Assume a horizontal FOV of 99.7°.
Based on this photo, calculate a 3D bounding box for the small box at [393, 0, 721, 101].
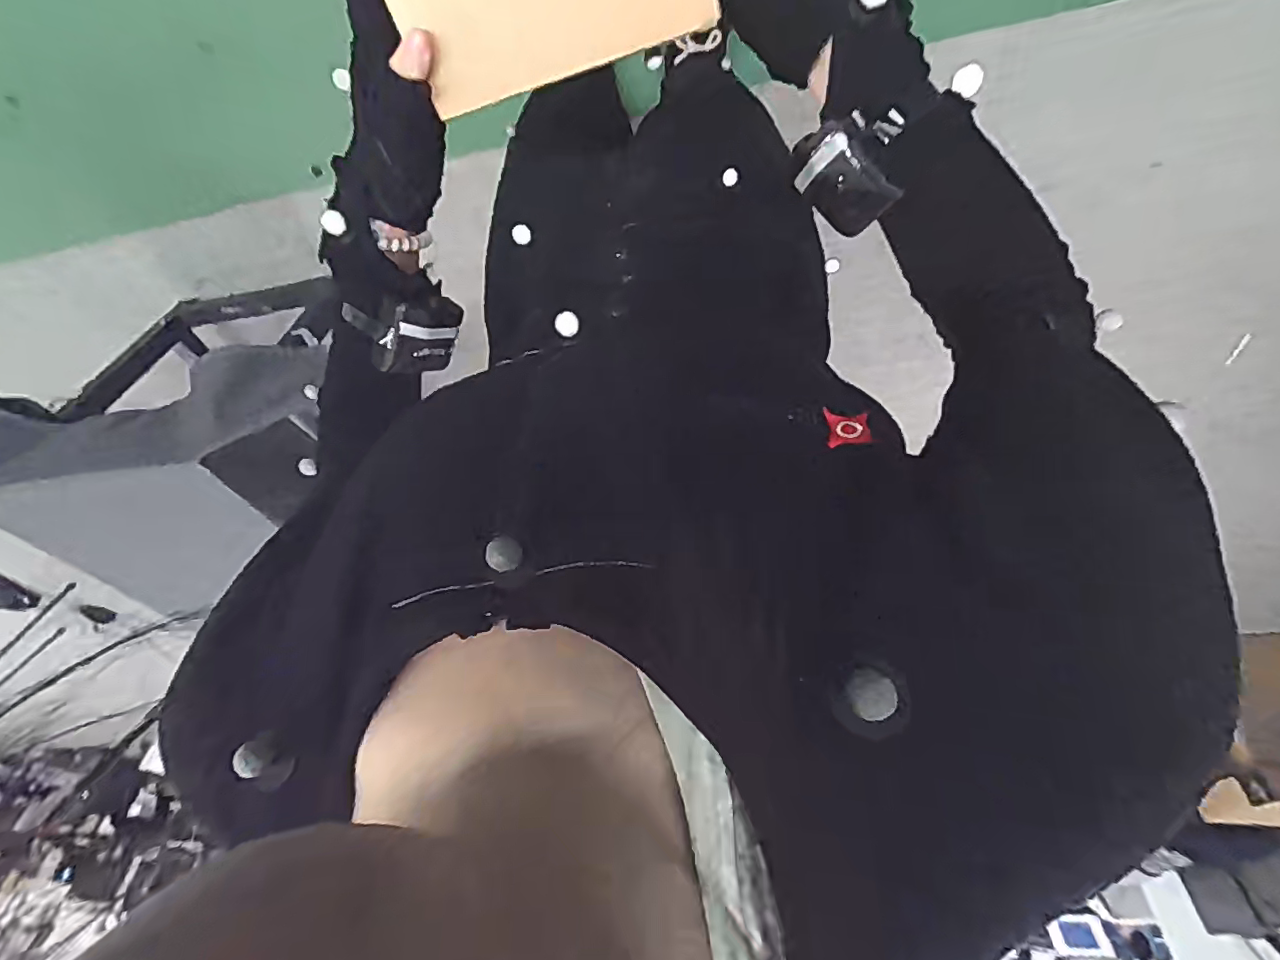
[{"bbox_3d":[-0.060,-0.348,0.305,0.179,0.176,0.168,-15,133,8],"label":"small box"}]
